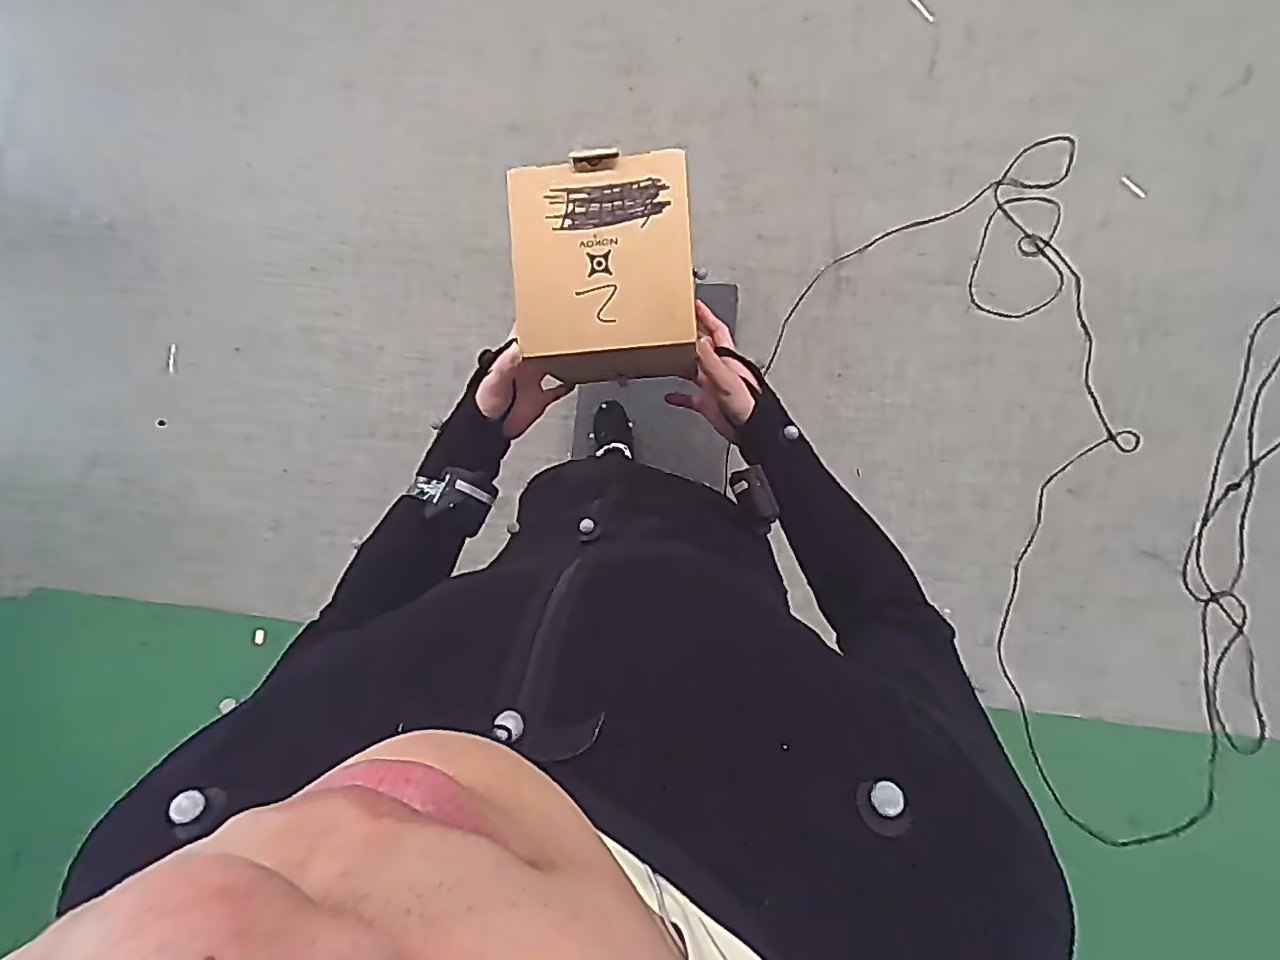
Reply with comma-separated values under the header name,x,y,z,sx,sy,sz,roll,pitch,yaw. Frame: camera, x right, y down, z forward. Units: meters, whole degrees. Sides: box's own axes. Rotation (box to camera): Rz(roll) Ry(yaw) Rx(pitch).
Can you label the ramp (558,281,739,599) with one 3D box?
name,x,y,z,sx,sy,sz,roll,pitch,yaw
ramp,0.035,-0.155,1.694,0.509,0.206,0.991,3,90,6
